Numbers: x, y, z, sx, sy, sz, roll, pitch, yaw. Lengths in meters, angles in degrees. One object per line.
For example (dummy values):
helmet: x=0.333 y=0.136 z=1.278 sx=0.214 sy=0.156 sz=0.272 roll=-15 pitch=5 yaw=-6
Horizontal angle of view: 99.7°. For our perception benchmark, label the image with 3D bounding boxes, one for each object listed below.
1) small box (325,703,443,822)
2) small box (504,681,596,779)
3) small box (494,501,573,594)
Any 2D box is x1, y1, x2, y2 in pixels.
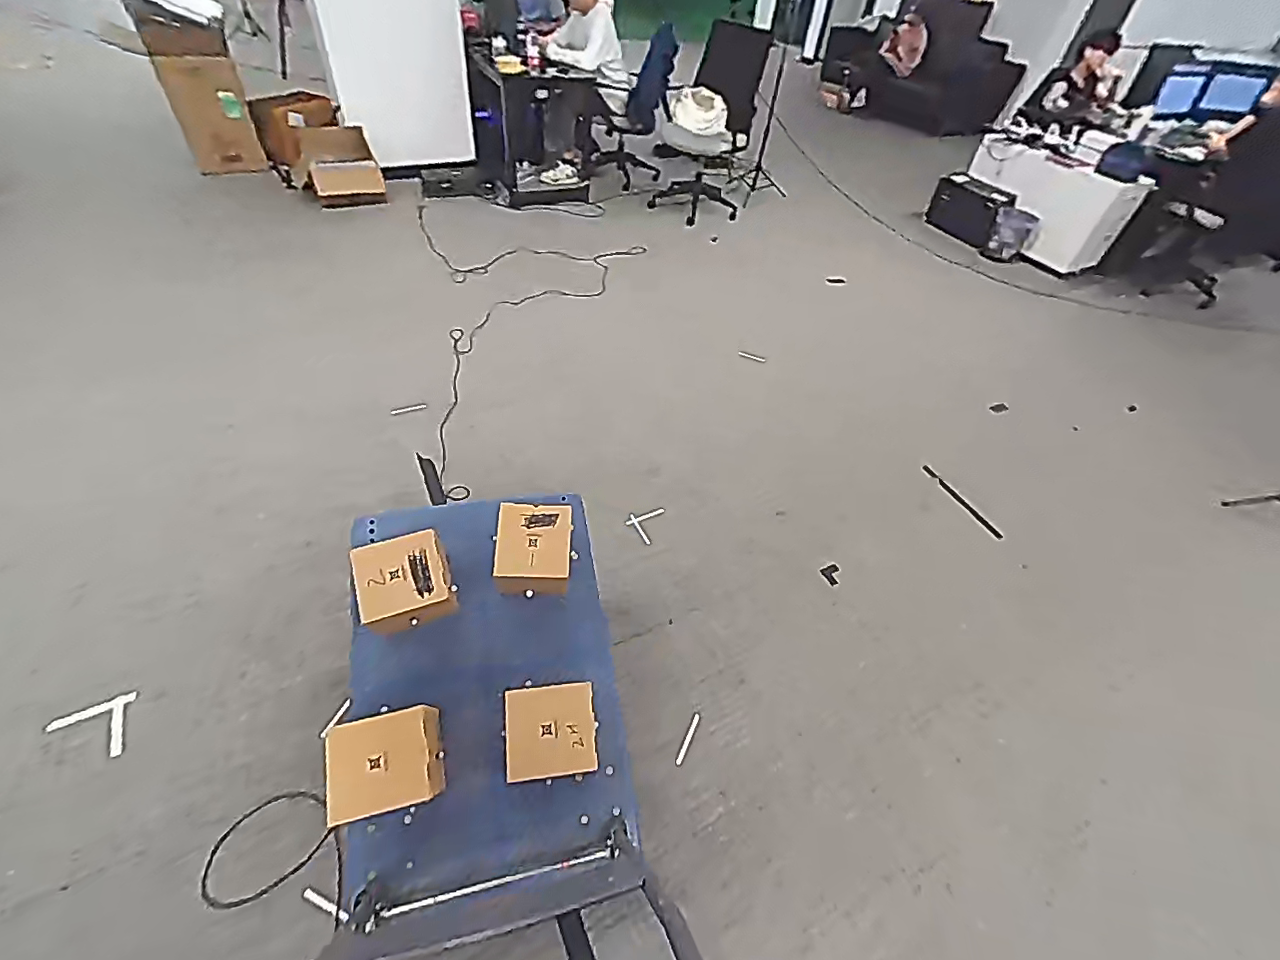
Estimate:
small box: x=-0.497 y=0.551 z=1.065 sx=0.179 sy=0.176 sz=0.168 roll=-8 pitch=67 yaw=-16
small box: x=-0.189 y=0.522 z=1.134 sx=0.179 sy=0.176 sz=0.168 roll=-2 pitch=66 yaw=-11
small box: x=-0.251 y=0.165 z=1.291 sx=0.168 sy=0.176 sz=0.179 roll=3 pitch=66 yaw=-9
